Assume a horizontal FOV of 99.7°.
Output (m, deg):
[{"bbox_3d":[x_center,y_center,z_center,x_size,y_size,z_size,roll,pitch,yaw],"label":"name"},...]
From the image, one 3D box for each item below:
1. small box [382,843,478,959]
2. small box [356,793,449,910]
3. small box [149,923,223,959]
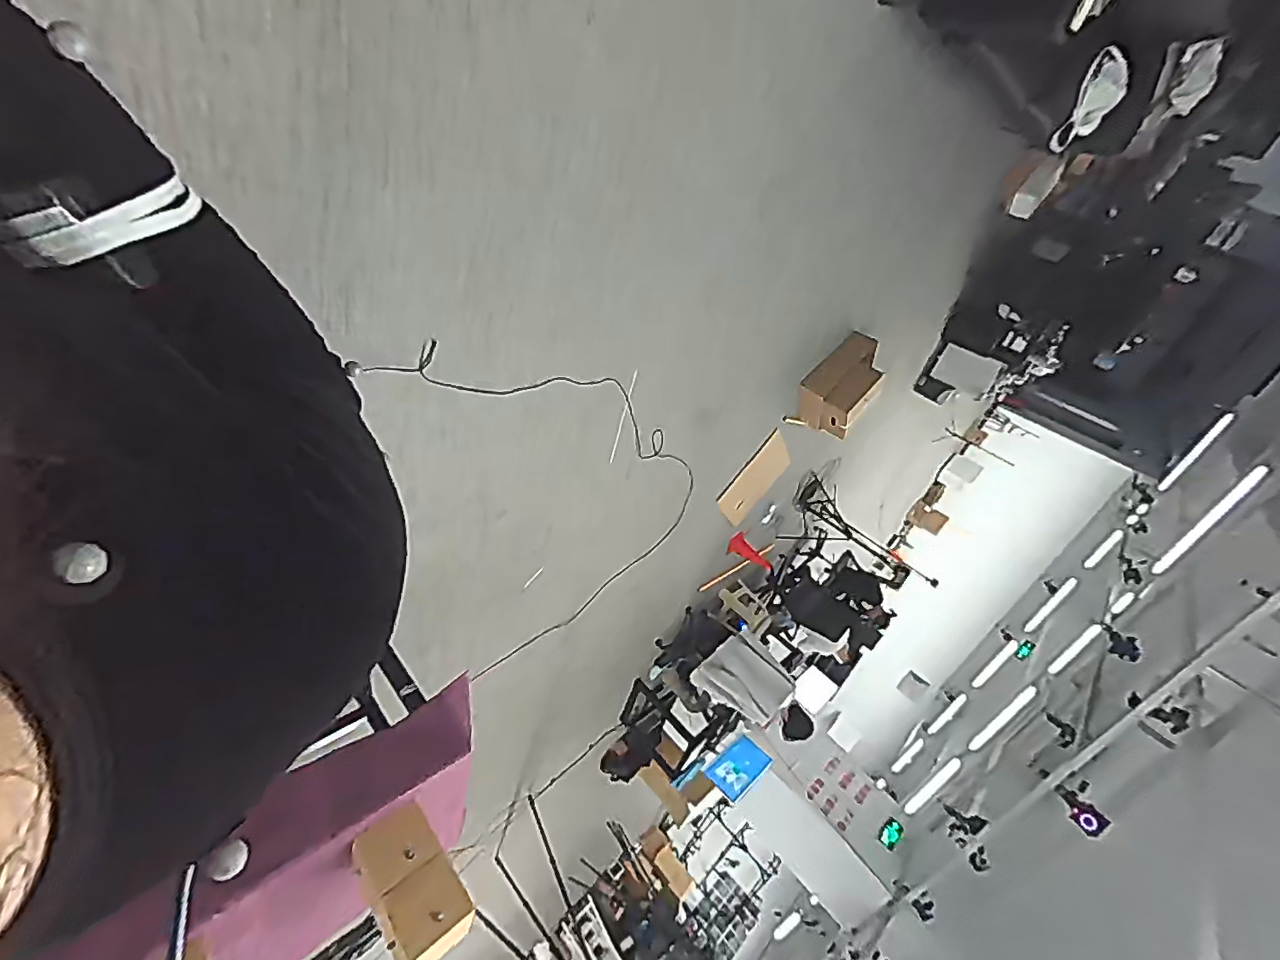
[{"bbox_3d":[-0.548,1.102,1.402,0.179,0.176,0.168,-18,138,-45],"label":"small box"},{"bbox_3d":[-0.654,1.010,1.485,0.179,0.176,0.168,-16,136,-44],"label":"small box"},{"bbox_3d":[-0.988,1.111,1.147,0.179,0.176,0.168,-18,138,-45],"label":"small box"}]
